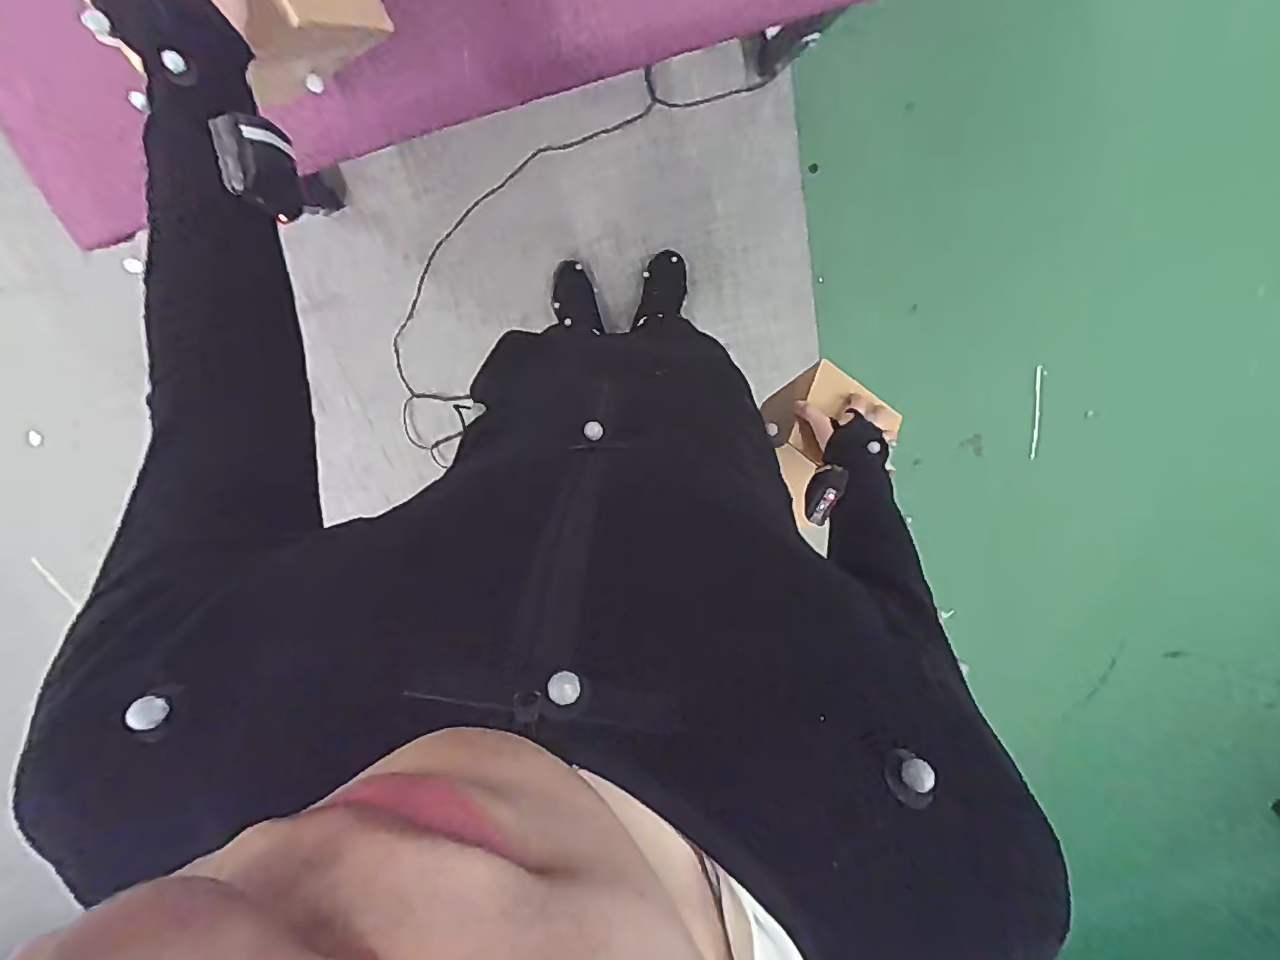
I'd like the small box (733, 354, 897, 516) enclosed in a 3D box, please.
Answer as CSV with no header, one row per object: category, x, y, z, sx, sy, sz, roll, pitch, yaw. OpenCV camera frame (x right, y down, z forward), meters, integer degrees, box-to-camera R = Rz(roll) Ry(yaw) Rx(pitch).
small box,0.275,-0.062,0.880,0.168,0.176,0.179,33,65,-10

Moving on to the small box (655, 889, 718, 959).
small box,0.145,1.408,1.664,0.168,0.176,0.179,-13,113,2

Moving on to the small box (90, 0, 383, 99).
small box,-0.375,-0.474,0.480,0.168,0.176,0.179,-16,125,18

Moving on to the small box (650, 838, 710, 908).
small box,0.135,1.346,1.813,0.168,0.176,0.179,-13,114,1
